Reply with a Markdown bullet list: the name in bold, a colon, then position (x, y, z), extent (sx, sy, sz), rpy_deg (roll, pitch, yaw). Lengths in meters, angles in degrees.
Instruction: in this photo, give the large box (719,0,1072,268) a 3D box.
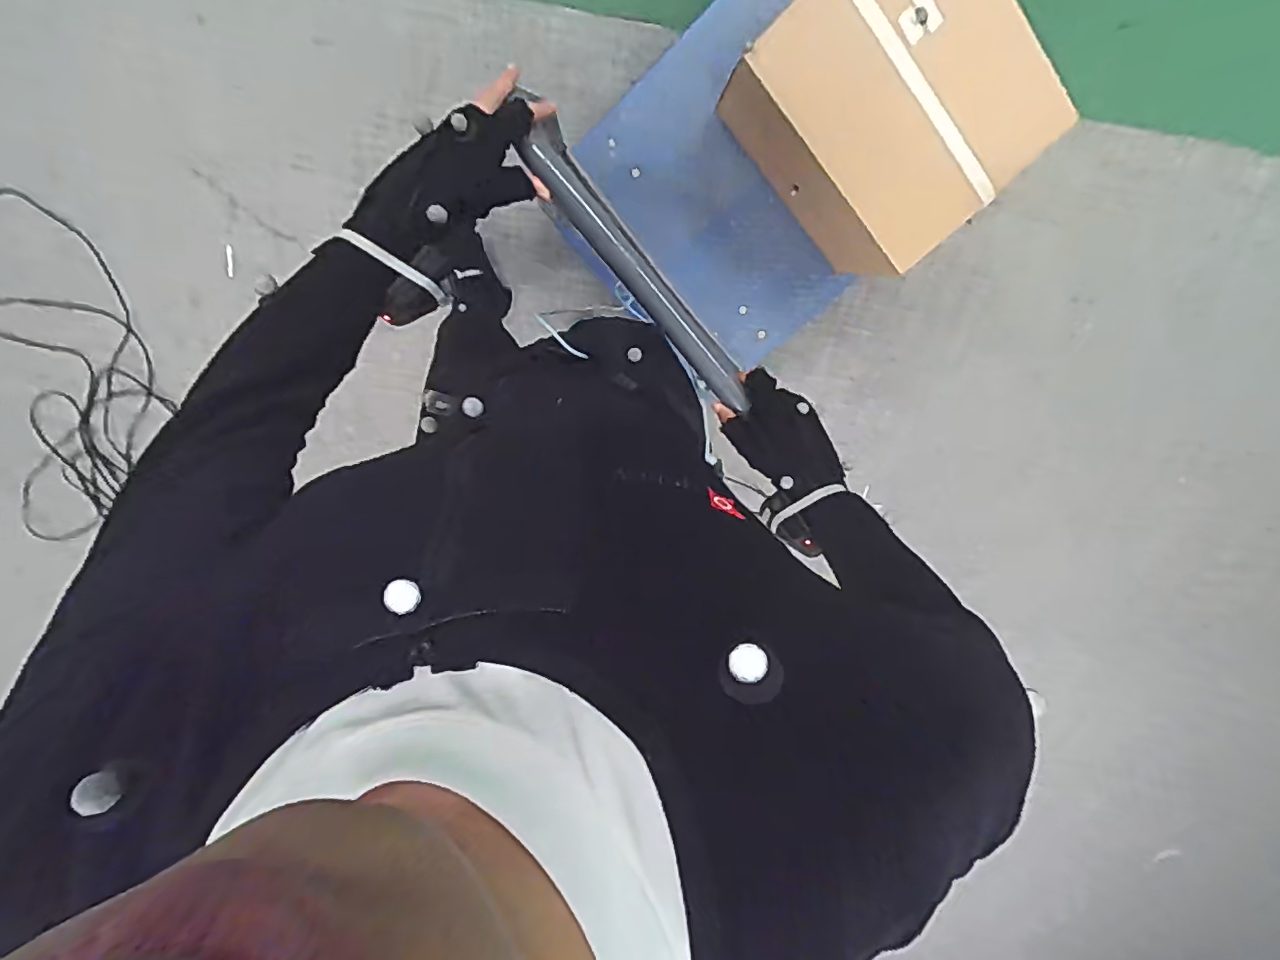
- **large box**: position (0.393, -0.625, 0.922), extent (0.320, 0.320, 0.408), rpy_deg (-42, 105, 14)
